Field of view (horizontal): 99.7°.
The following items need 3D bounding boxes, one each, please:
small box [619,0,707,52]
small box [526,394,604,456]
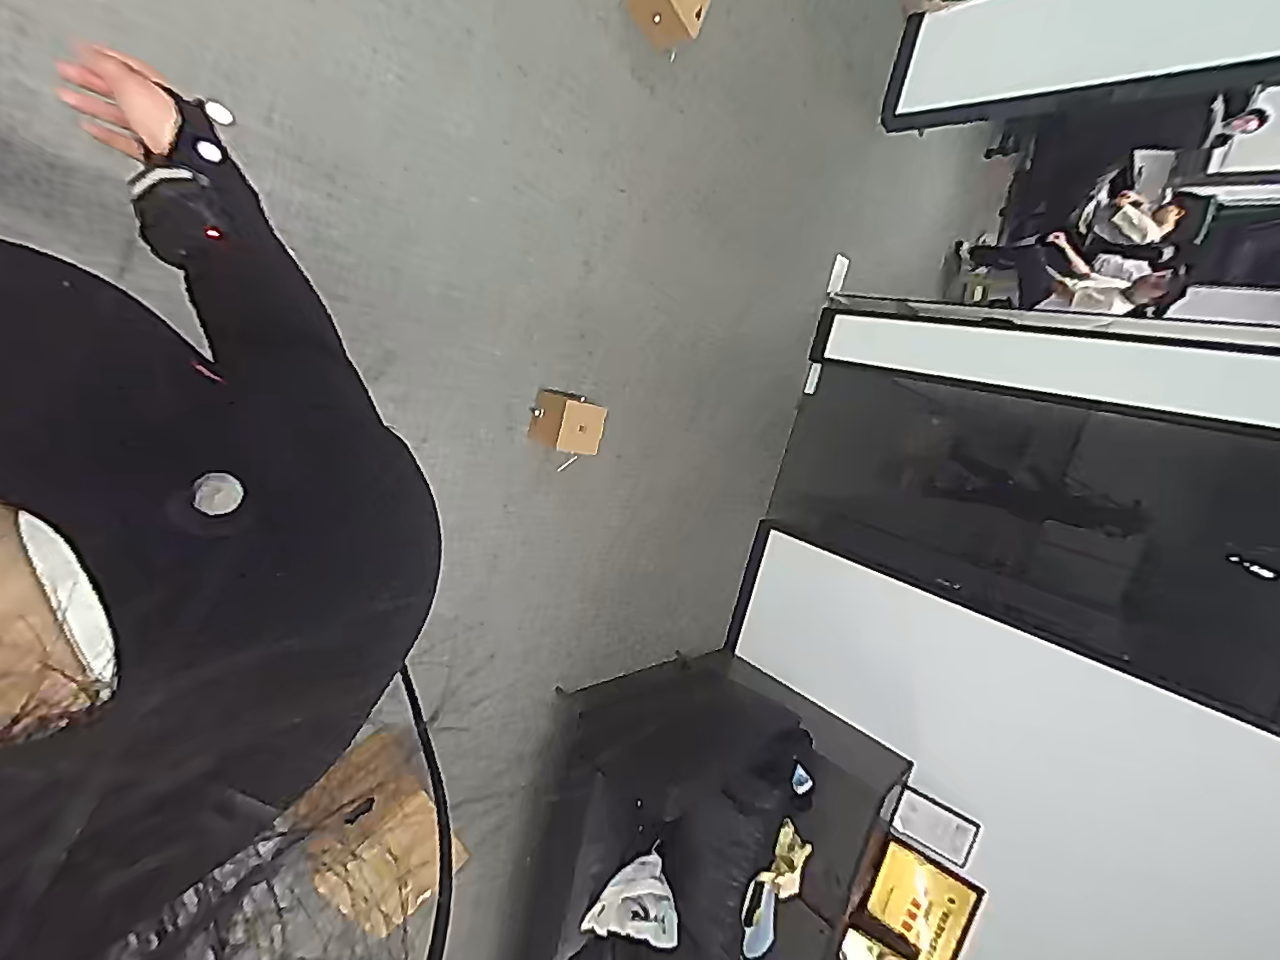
[{"bbox_3d":[0.068,-1.407,1.583,0.179,0.176,0.168,21,91,-49],"label":"small box"},{"bbox_3d":[-0.252,-0.184,1.806,0.179,0.176,0.168,4,103,-47],"label":"small box"}]
